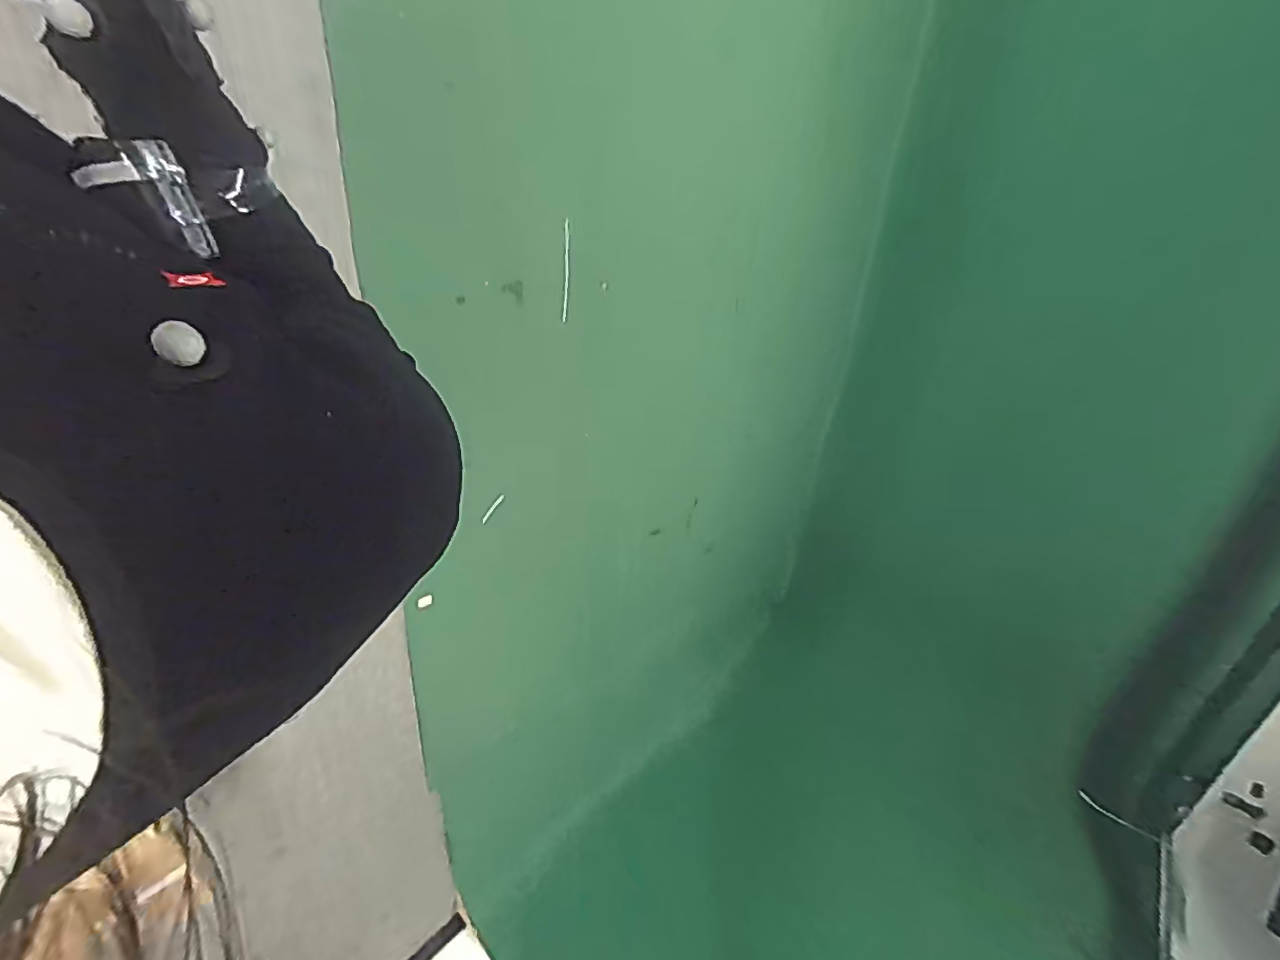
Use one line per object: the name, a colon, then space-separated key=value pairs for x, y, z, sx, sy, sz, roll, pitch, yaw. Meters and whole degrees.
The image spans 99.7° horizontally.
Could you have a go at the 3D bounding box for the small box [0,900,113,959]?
small box: x=-1.076 y=0.920 z=0.962 sx=0.179 sy=0.176 sz=0.168 roll=-26 pitch=128 yaw=-43
